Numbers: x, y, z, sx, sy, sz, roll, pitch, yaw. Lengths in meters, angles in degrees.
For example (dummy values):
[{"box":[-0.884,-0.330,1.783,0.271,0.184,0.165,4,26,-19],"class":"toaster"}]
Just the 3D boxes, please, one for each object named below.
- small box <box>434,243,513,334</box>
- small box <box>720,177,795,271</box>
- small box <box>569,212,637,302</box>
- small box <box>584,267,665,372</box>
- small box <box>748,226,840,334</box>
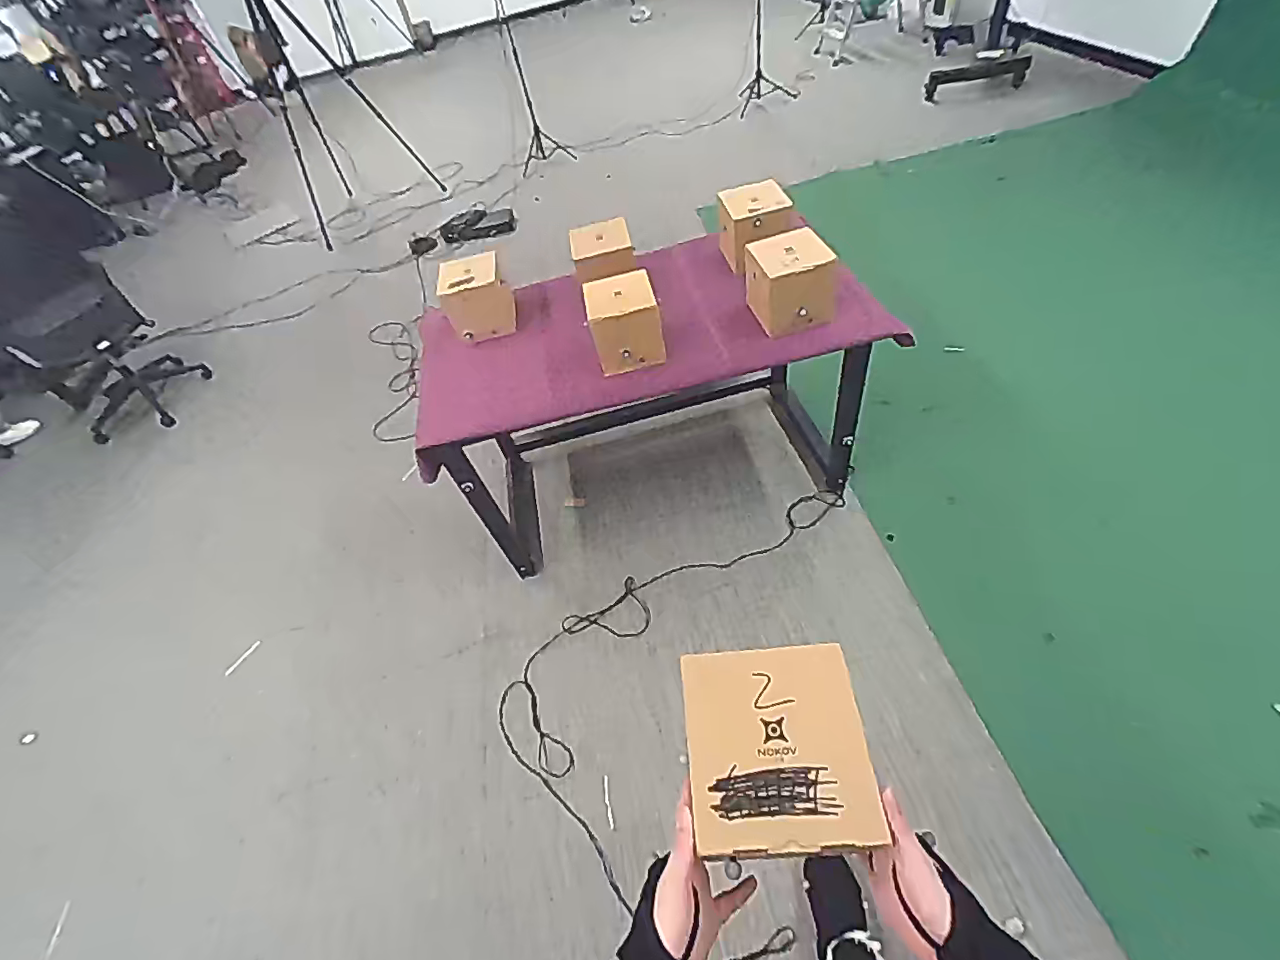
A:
[{"box":[-0.465,-0.534,1.530,0.168,0.176,0.179,-13,52,0],"class":"small box"},{"box":[0.327,-0.721,1.528,0.168,0.176,0.179,-13,51,1],"class":"small box"},{"box":[-0.099,-0.629,1.540,0.168,0.176,0.179,-12,52,2],"class":"small box"},{"box":[-0.039,-0.398,1.345,0.168,0.176,0.179,-12,50,1],"class":"small box"},{"box":[0.371,-0.490,1.334,0.168,0.176,0.179,-15,51,1],"class":"small box"}]
